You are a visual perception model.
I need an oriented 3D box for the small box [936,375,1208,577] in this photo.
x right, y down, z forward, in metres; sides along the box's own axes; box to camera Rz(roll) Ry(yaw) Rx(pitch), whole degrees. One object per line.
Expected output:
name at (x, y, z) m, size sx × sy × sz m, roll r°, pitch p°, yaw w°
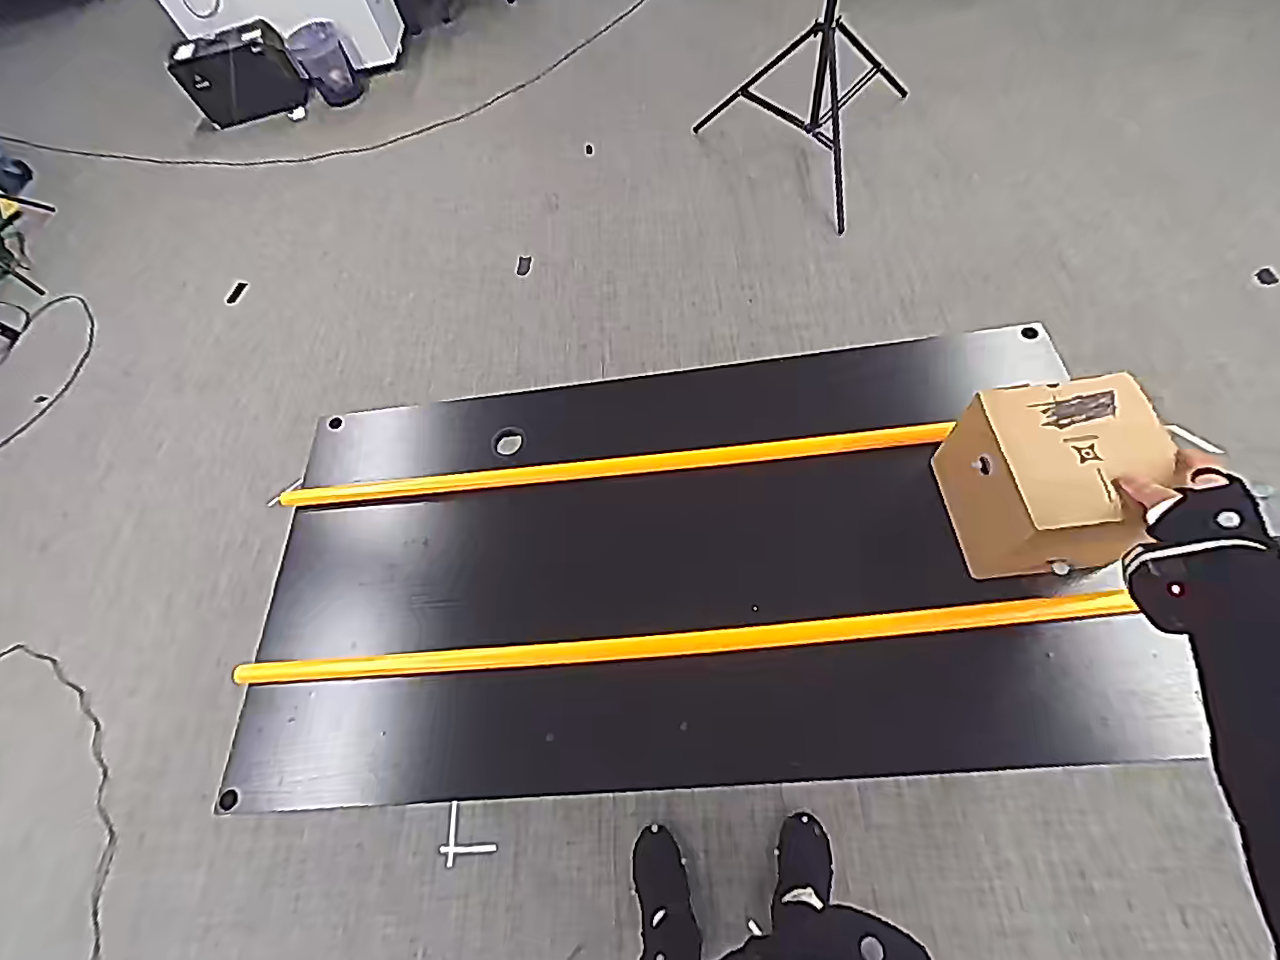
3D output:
small box at (0.484, 0.003, 0.646) m, size 0.168 × 0.176 × 0.179 m, roll -7°, pitch 62°, yaw 6°
